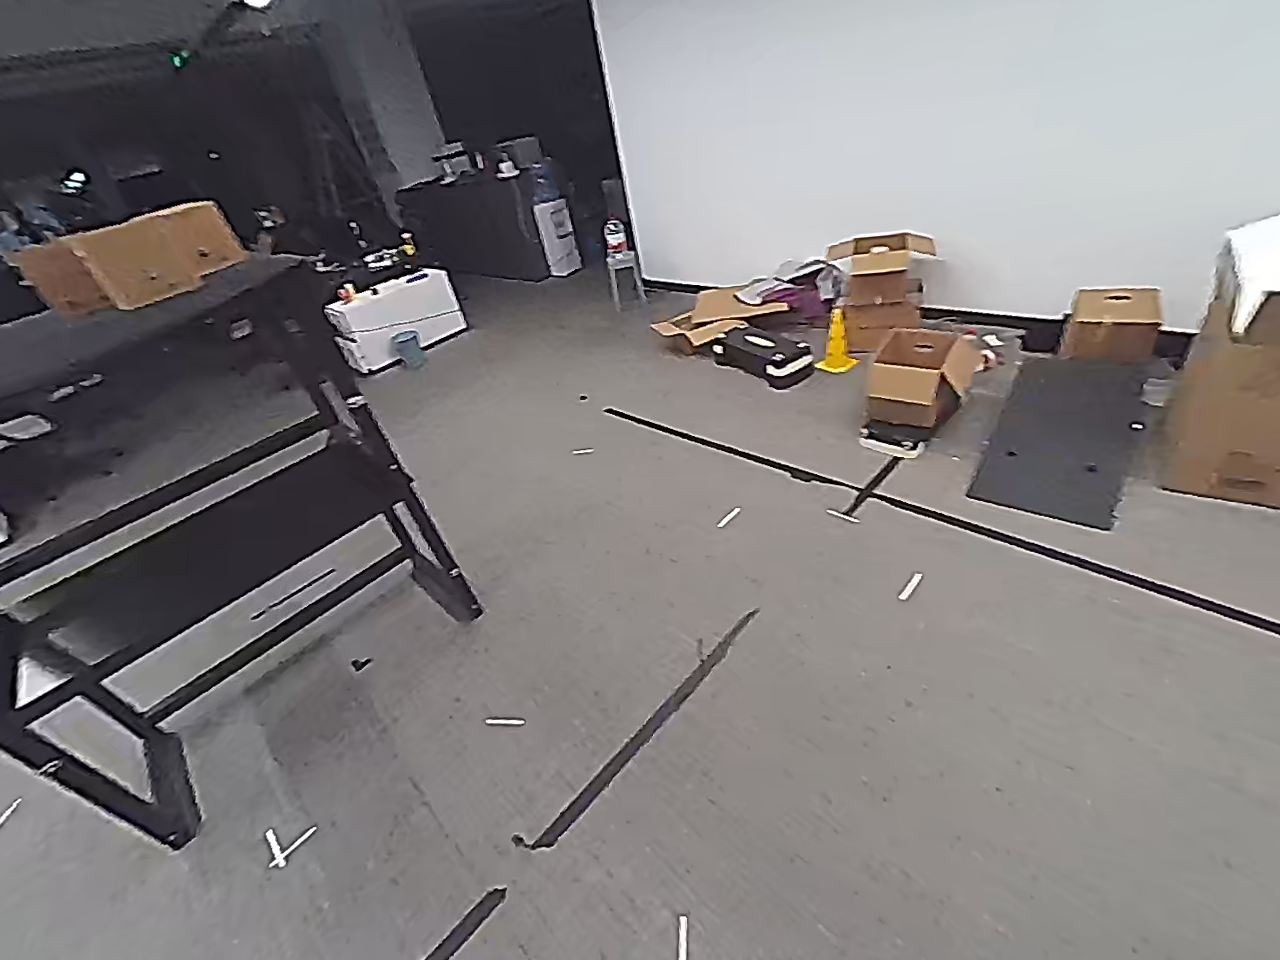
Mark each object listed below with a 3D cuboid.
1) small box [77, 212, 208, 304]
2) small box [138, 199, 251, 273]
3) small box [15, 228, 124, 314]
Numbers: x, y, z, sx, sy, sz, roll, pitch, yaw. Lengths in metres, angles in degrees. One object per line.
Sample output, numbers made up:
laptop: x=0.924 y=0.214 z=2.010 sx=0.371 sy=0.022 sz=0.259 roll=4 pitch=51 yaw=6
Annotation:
small box: x=-1.213 y=-0.540 z=1.324 sx=0.179 sy=0.176 sz=0.168 roll=19 pitch=46 yaw=39
small box: x=-1.302 y=-0.712 z=1.588 sx=0.179 sy=0.176 sz=0.168 roll=16 pitch=46 yaw=31
small box: x=-1.483 y=-0.553 z=1.433 sx=0.179 sy=0.176 sz=0.168 roll=21 pitch=48 yaw=39
